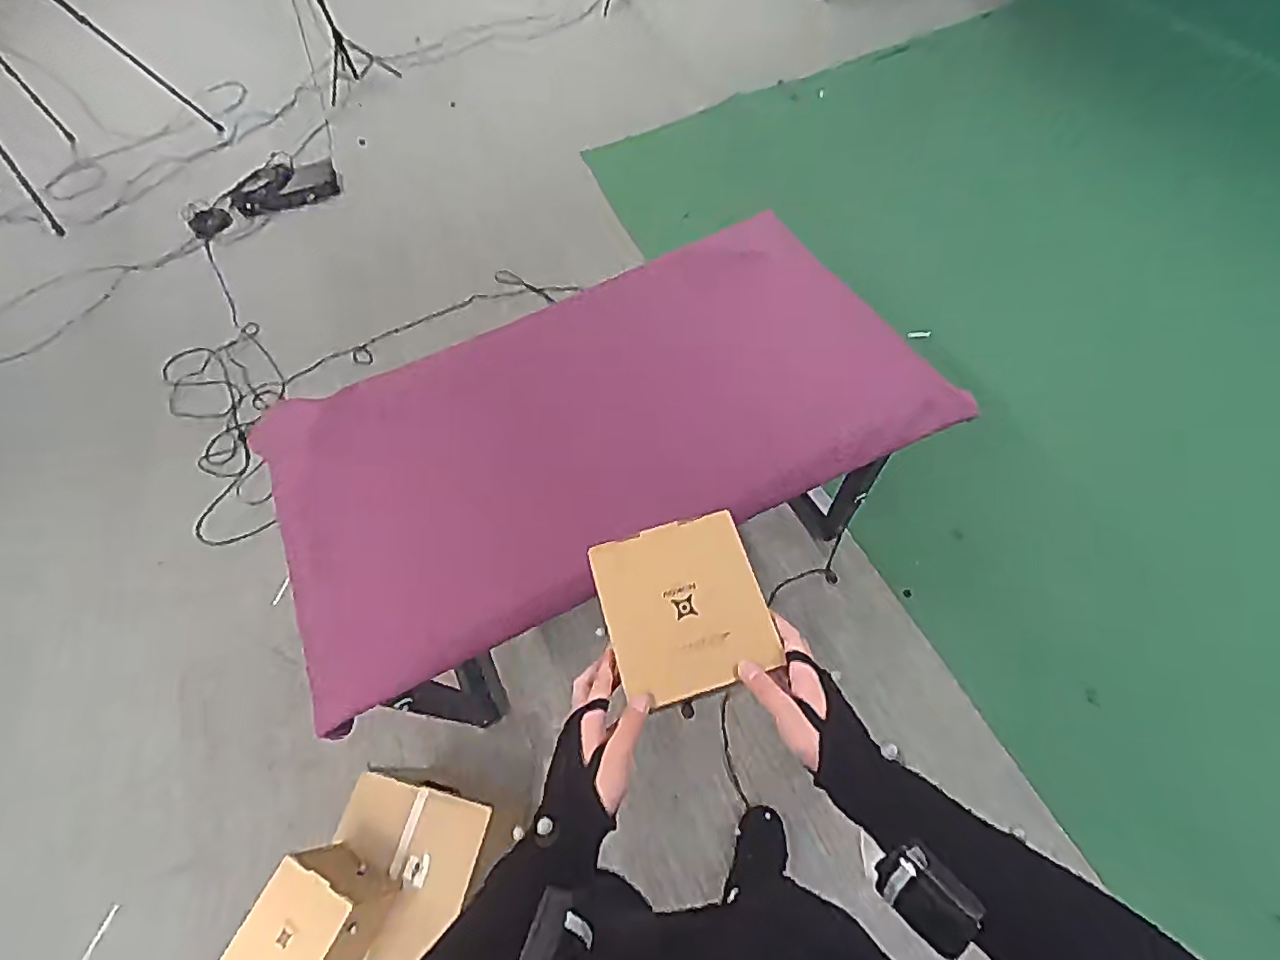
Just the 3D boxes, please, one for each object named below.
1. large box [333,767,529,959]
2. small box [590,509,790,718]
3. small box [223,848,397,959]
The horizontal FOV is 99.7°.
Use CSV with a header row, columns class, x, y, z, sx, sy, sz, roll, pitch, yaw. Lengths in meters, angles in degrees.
class,x,y,z,sx,sy,sz,roll,pitch,yaw
large box,-0.483,0.896,1.191,0.320,0.320,0.408,10,62,10
small box,0.046,0.160,0.622,0.168,0.176,0.179,-15,65,-6
small box,-0.580,0.802,0.974,0.168,0.176,0.179,20,65,18
